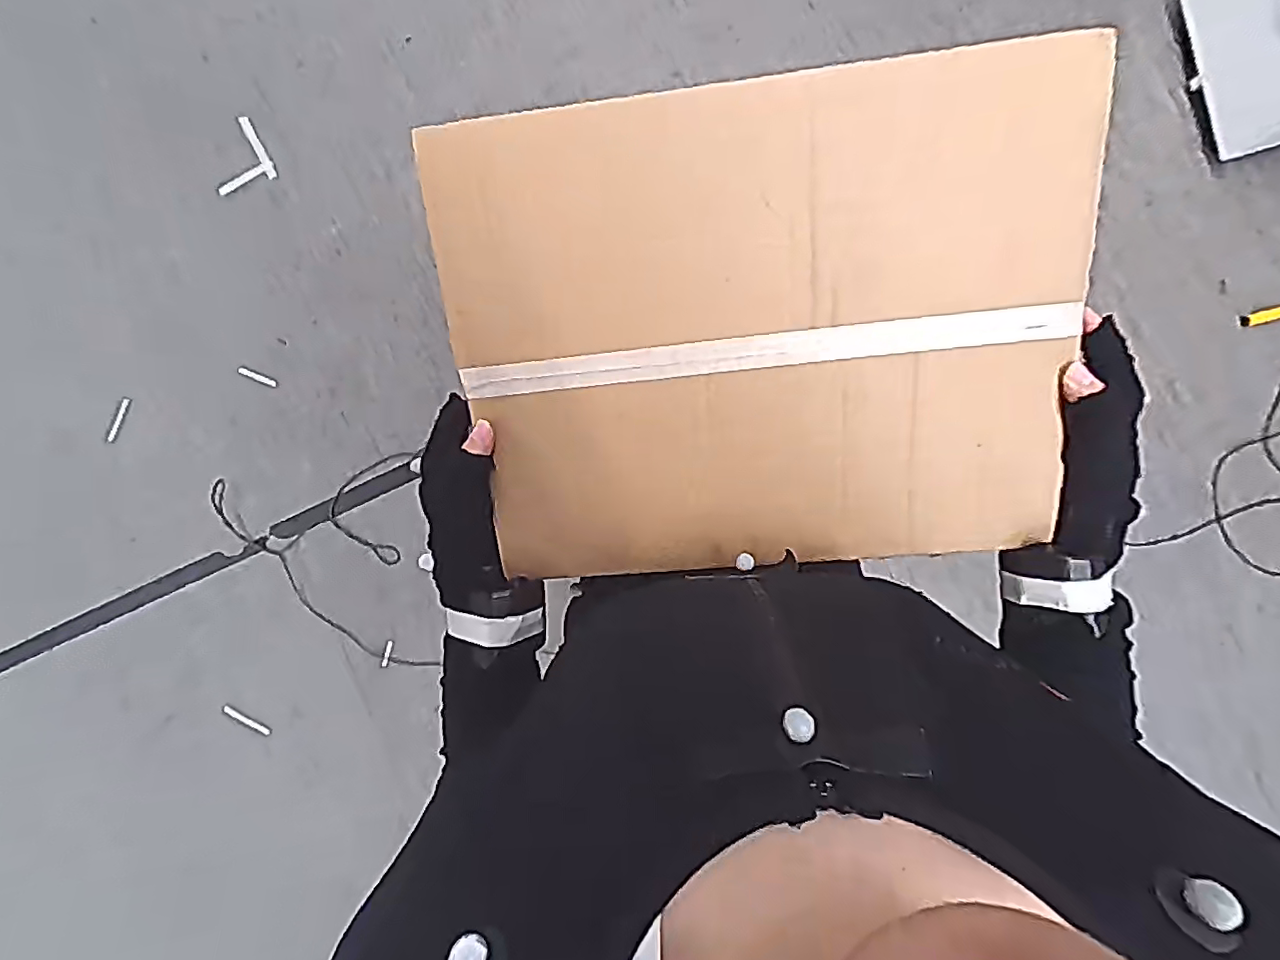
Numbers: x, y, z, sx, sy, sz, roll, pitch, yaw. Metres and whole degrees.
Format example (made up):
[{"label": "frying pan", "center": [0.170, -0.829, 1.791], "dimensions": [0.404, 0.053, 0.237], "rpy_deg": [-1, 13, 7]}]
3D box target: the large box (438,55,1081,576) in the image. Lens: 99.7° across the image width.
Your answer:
[{"label": "large box", "center": [0.087, -0.130, 0.519], "dimensions": [0.408, 0.320, 0.320], "rpy_deg": [-5, 108, 5]}]
